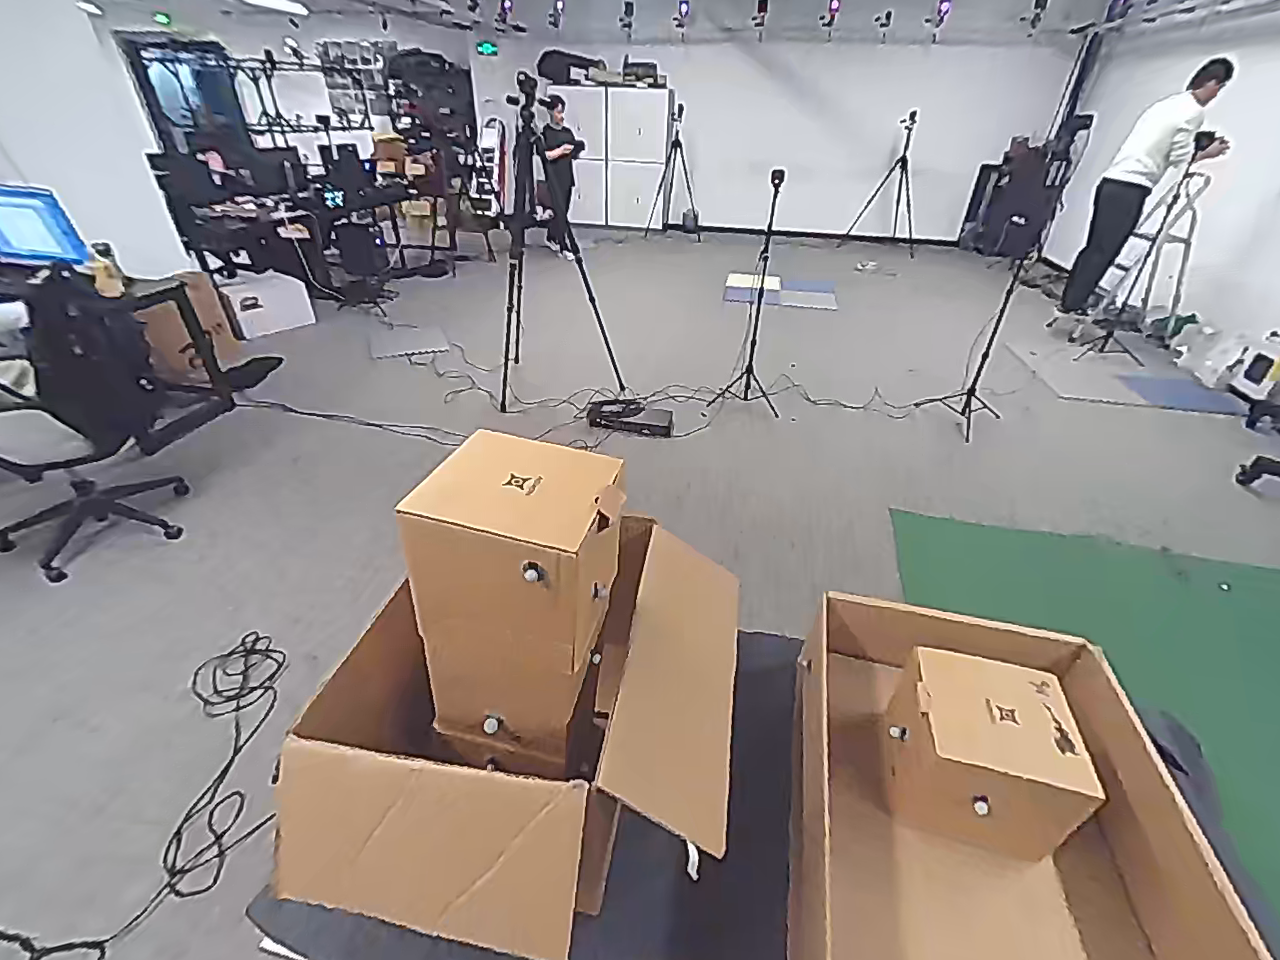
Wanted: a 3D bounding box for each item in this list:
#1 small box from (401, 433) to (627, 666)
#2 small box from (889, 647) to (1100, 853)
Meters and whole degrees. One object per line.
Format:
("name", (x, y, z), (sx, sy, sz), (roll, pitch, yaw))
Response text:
("small box", (-0.123, 0.072, 0.581), (0.179, 0.176, 0.168), (12, 34, 7))
("small box", (0.441, 0.353, 0.714), (0.179, 0.176, 0.168), (8, 36, 13))
